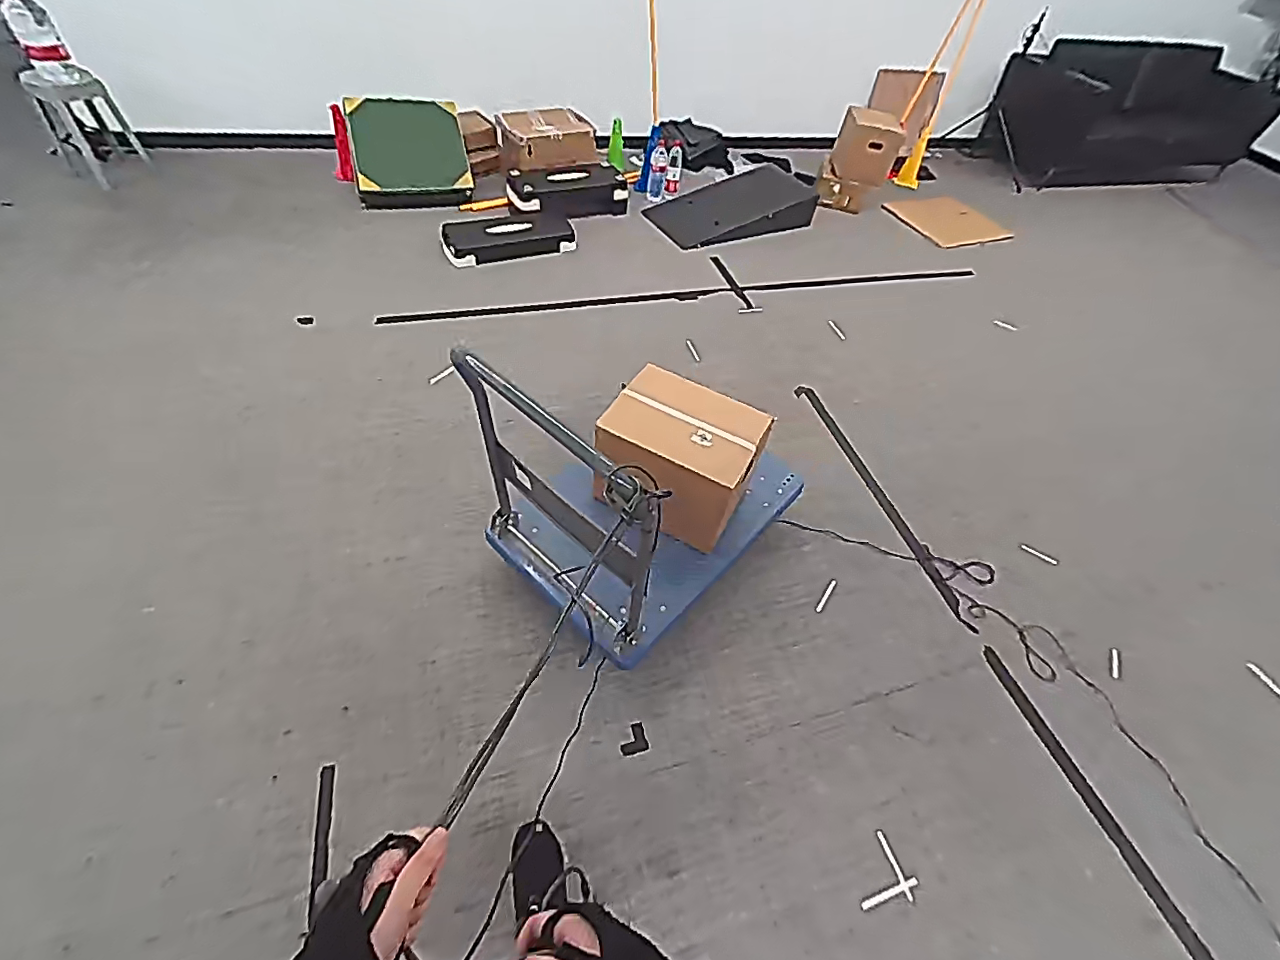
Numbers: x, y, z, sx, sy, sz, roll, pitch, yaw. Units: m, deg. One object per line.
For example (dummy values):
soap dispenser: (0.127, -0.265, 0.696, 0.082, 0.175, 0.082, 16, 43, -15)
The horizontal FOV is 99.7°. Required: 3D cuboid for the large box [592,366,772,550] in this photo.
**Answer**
large box: (0.110, -0.064, 1.579, 0.408, 0.320, 0.320, 26, 53, 13)
